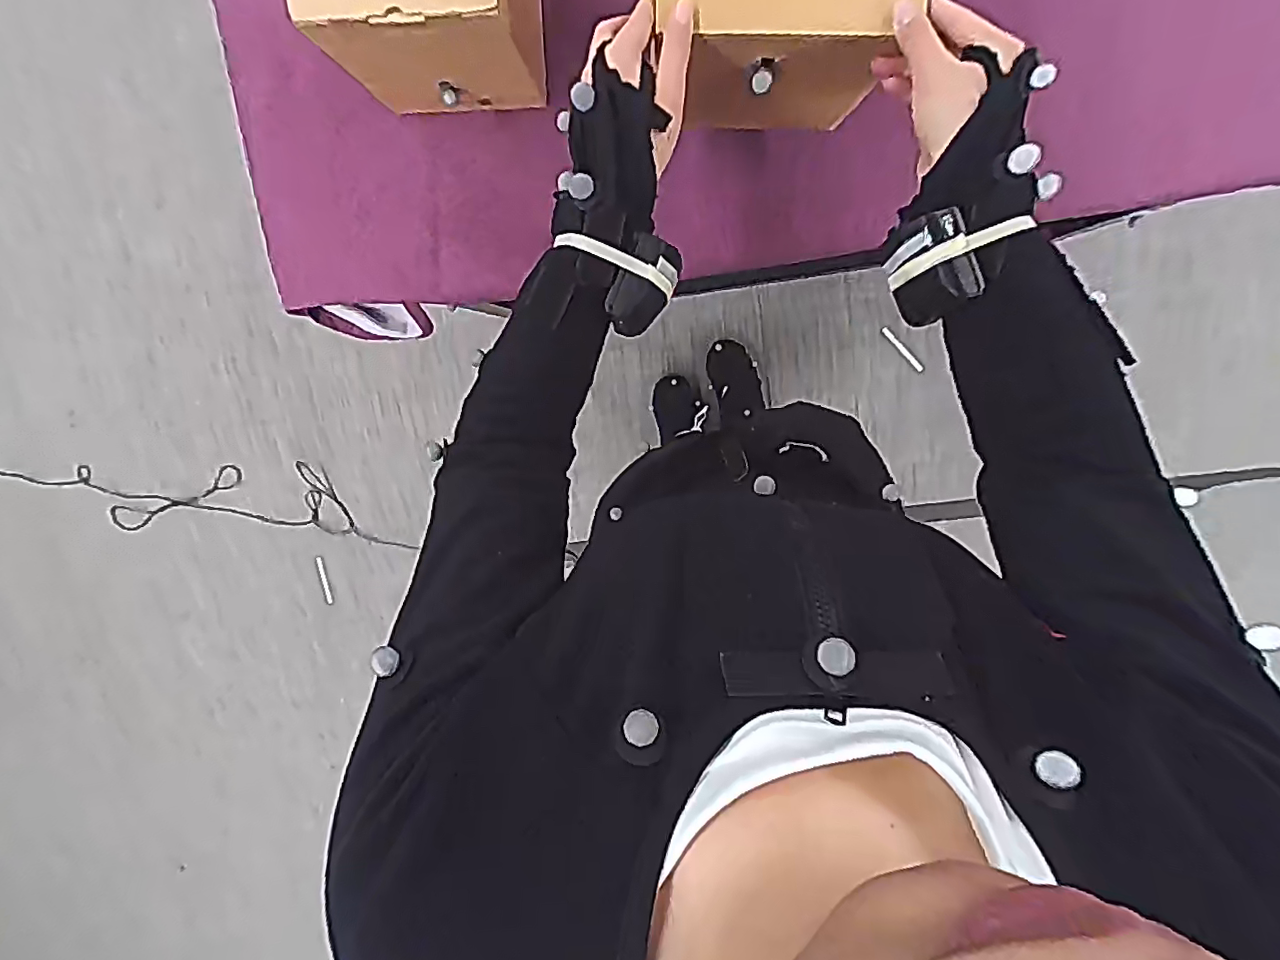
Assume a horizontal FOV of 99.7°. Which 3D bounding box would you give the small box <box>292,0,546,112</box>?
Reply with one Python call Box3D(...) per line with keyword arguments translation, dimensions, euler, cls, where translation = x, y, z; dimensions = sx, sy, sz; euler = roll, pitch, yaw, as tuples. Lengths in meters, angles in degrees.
Box3D(translation=(-0.183, -0.458, 0.473), dimensions=(0.168, 0.176, 0.179), euler=(-1, 103, 3), cls="small box")
